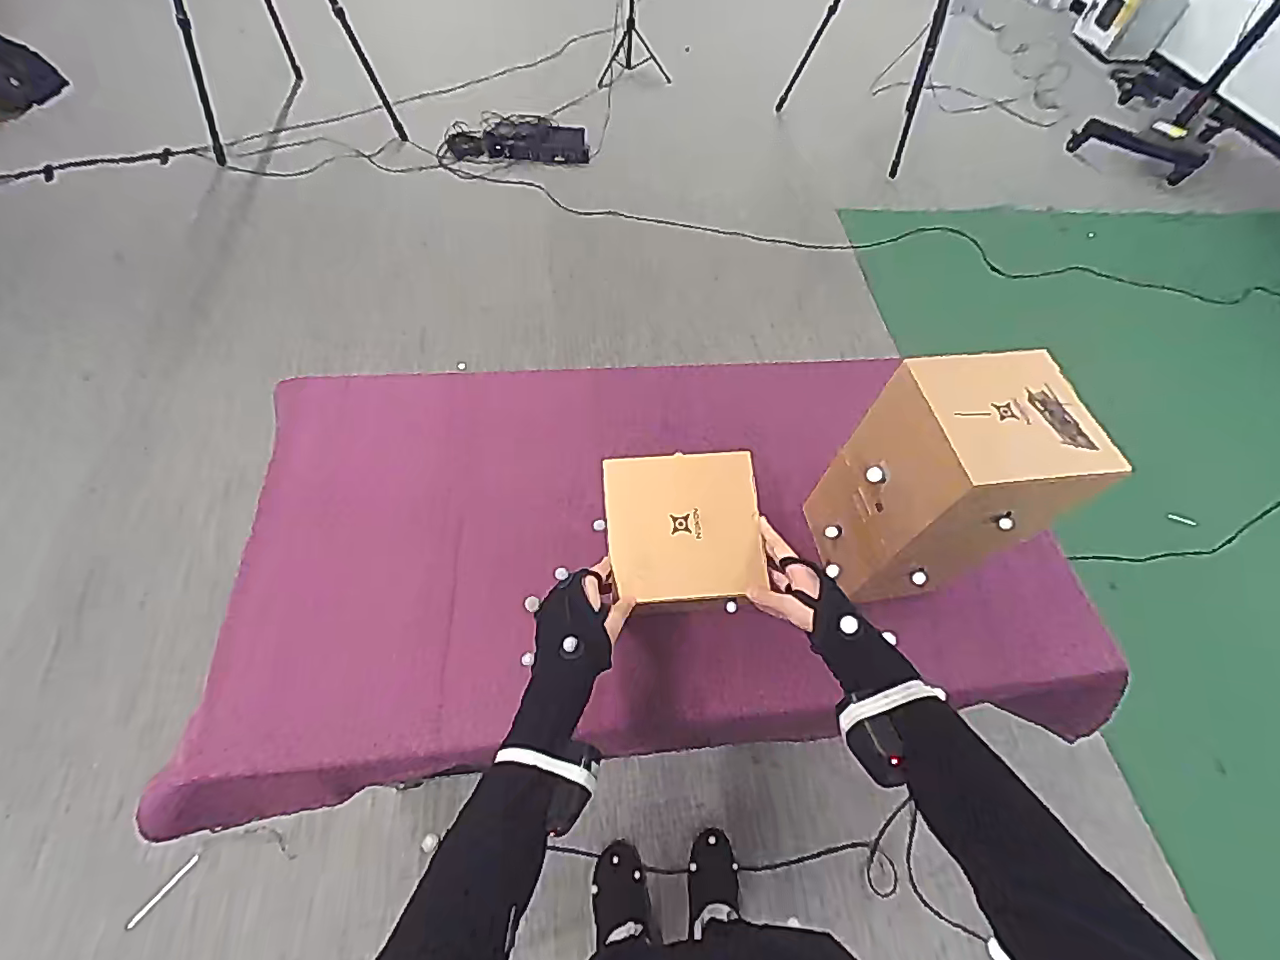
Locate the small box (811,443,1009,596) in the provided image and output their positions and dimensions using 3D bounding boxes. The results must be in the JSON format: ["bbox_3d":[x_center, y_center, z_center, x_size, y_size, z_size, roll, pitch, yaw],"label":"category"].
[{"bbox_3d":[0.359,0.054,0.766,0.179,0.176,0.168,-7,59,-8],"label":"small box"}]

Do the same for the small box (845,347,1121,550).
[{"bbox_3d":[0.371,-0.032,0.625,0.179,0.176,0.168,-5,58,-7],"label":"small box"}]
